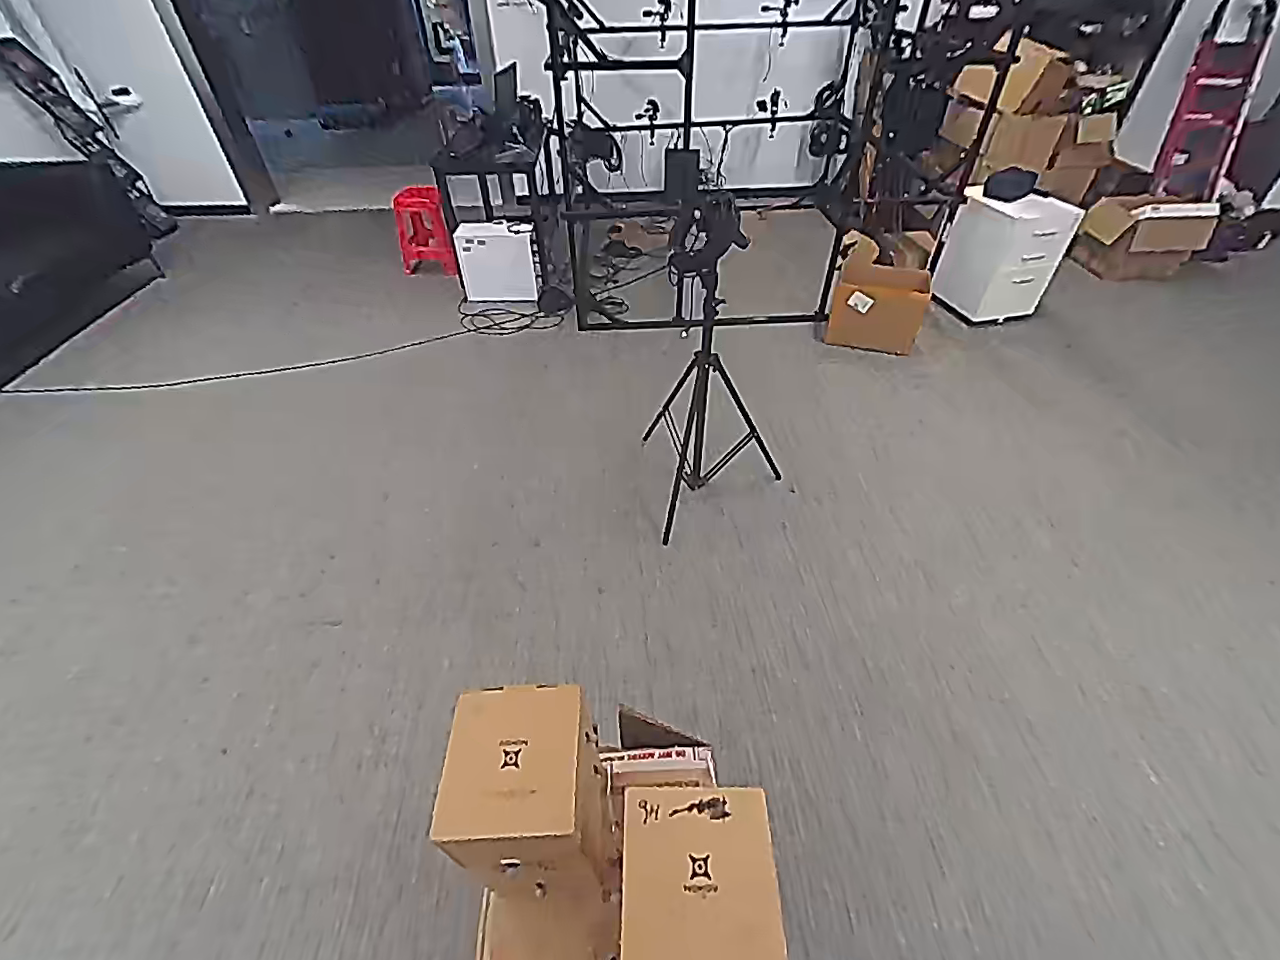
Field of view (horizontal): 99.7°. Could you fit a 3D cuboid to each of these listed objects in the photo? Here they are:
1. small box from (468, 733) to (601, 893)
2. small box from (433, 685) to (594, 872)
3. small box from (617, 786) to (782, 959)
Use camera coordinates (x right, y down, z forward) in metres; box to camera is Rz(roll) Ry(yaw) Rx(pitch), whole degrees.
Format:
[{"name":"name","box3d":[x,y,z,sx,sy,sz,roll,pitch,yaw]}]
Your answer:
[{"name":"small box","box3d":[-0.150,0.514,0.837,0.168,0.176,0.179,-3,45,0]},{"name":"small box","box3d":[-0.153,0.398,0.723,0.168,0.176,0.179,-4,45,0]},{"name":"small box","box3d":[0.061,0.480,0.634,0.168,0.176,0.179,1,45,0]}]
